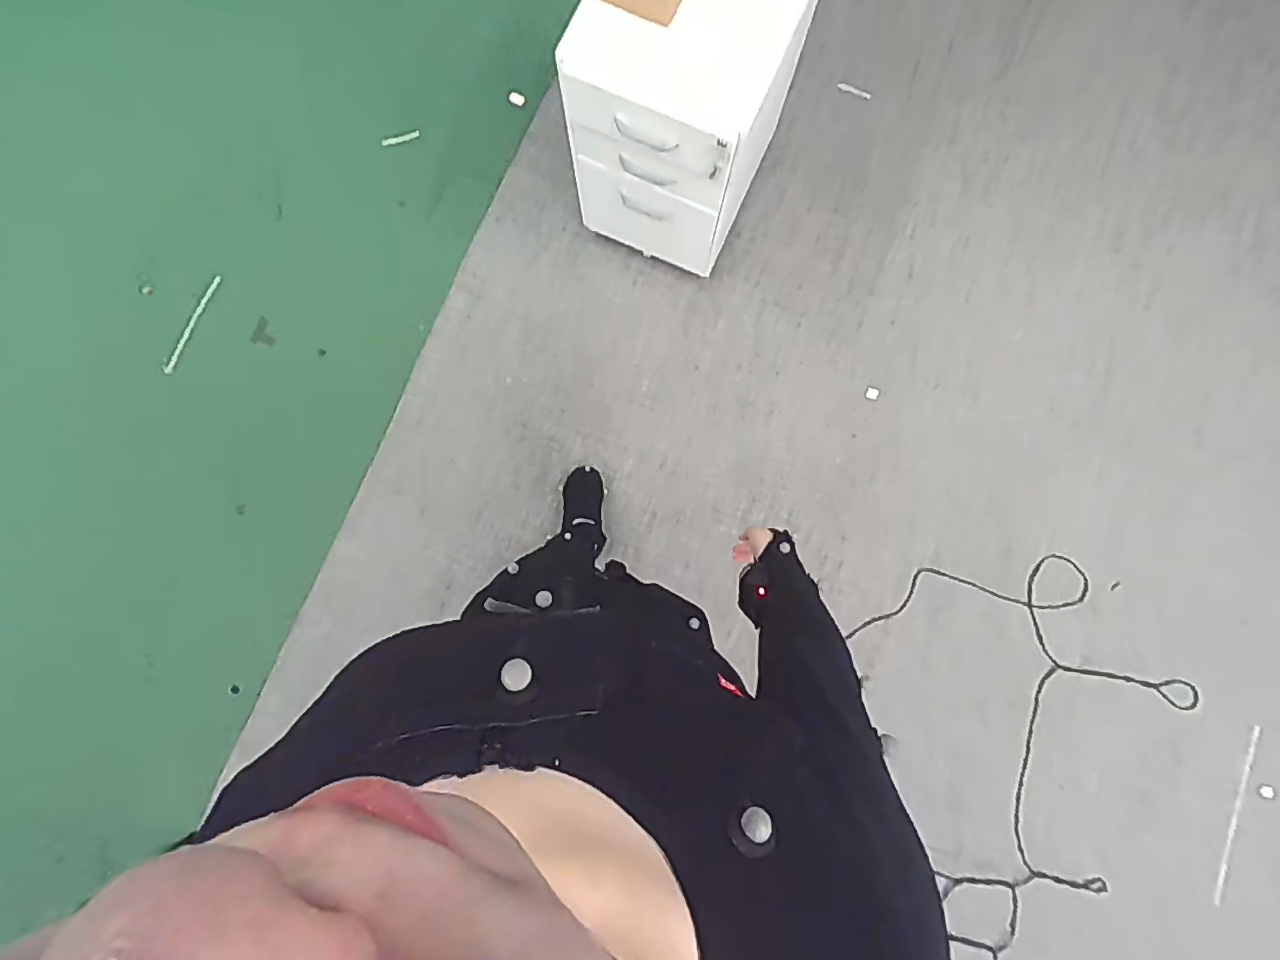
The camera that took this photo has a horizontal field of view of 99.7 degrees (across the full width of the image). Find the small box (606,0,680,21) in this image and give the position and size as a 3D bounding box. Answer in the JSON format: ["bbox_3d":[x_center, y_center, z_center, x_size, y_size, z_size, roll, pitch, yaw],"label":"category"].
[{"bbox_3d":[0.005,-0.970,0.949,0.179,0.176,0.168,24,84,1],"label":"small box"}]
